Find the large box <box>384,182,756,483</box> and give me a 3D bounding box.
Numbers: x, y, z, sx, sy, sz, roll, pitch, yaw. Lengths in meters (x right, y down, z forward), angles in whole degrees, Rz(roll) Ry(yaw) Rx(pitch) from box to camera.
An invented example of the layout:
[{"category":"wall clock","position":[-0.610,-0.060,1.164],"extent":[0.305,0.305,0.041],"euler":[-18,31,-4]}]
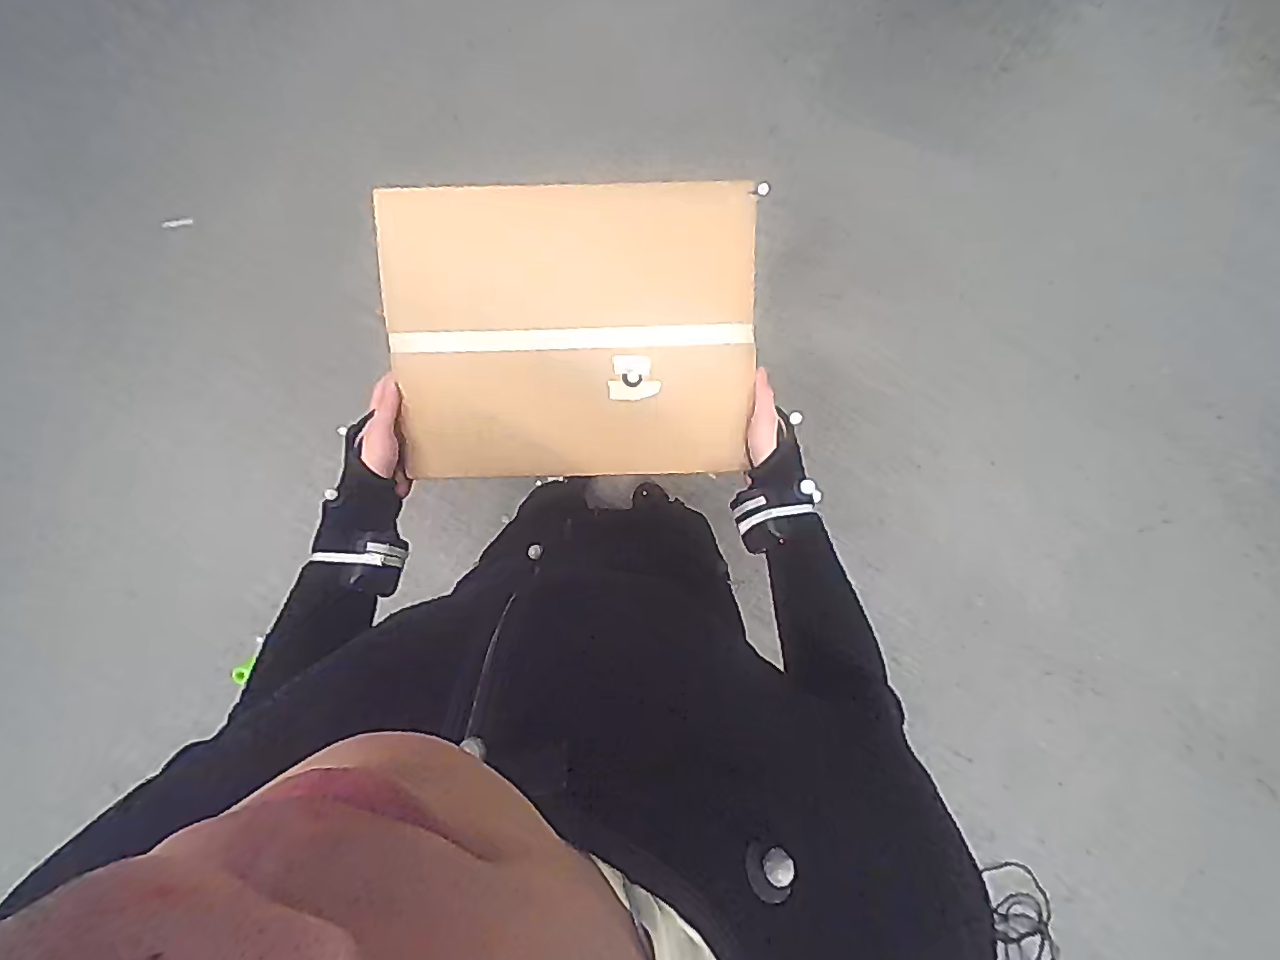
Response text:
[{"category":"large box","position":[-0.074,-0.187,0.755],"extent":[0.408,0.320,0.320],"euler":[-3,102,-1]}]
